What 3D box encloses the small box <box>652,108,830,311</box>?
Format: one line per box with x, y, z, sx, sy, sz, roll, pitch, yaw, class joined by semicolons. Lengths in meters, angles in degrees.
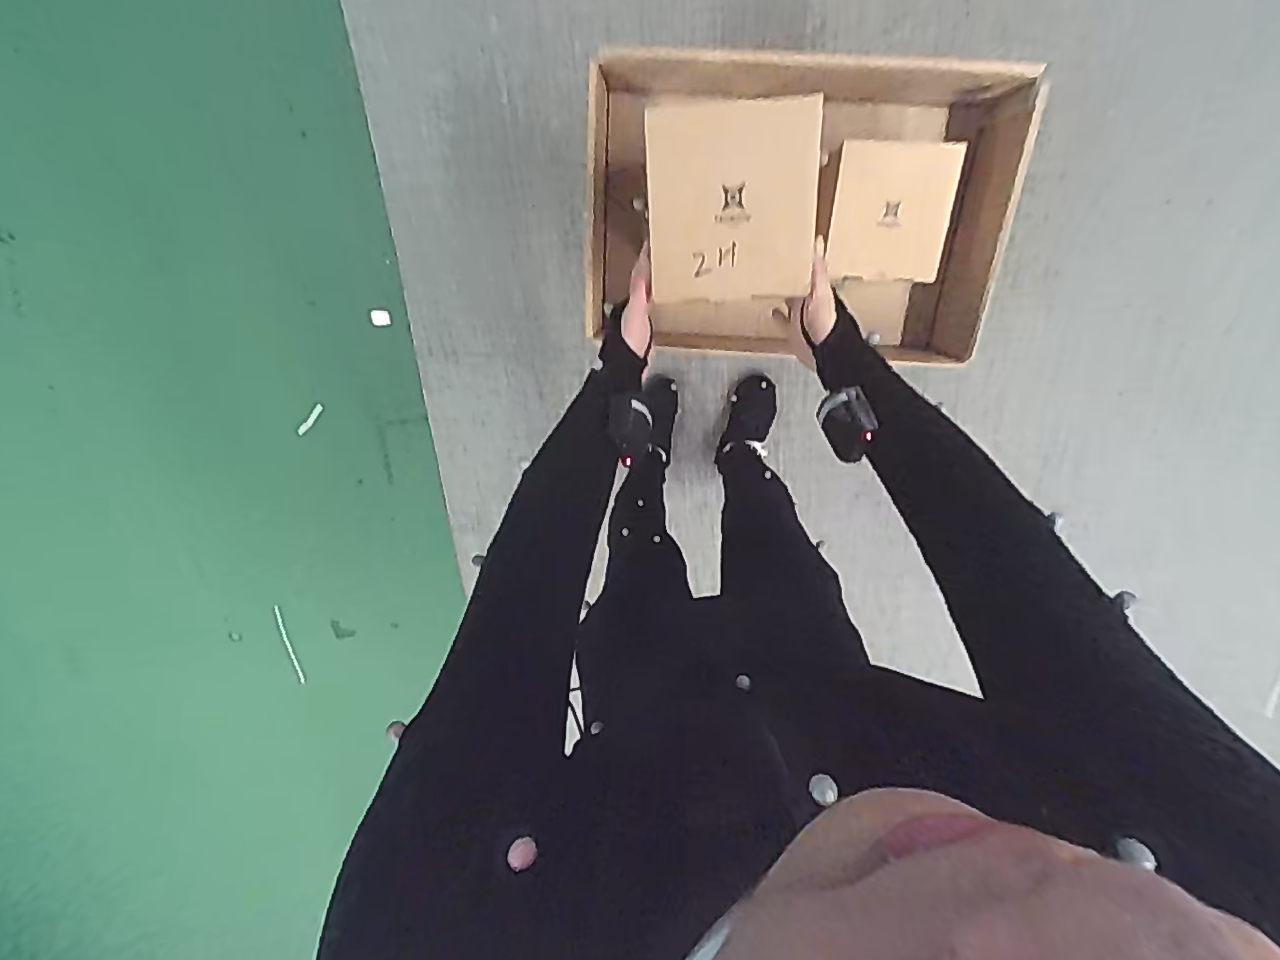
0.098;-0.291;0.602;0.168;0.176;0.179;-1;115;3;small box

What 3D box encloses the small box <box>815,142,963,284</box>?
0.355;-0.402;0.835;0.168;0.176;0.179;3;113;1;small box
